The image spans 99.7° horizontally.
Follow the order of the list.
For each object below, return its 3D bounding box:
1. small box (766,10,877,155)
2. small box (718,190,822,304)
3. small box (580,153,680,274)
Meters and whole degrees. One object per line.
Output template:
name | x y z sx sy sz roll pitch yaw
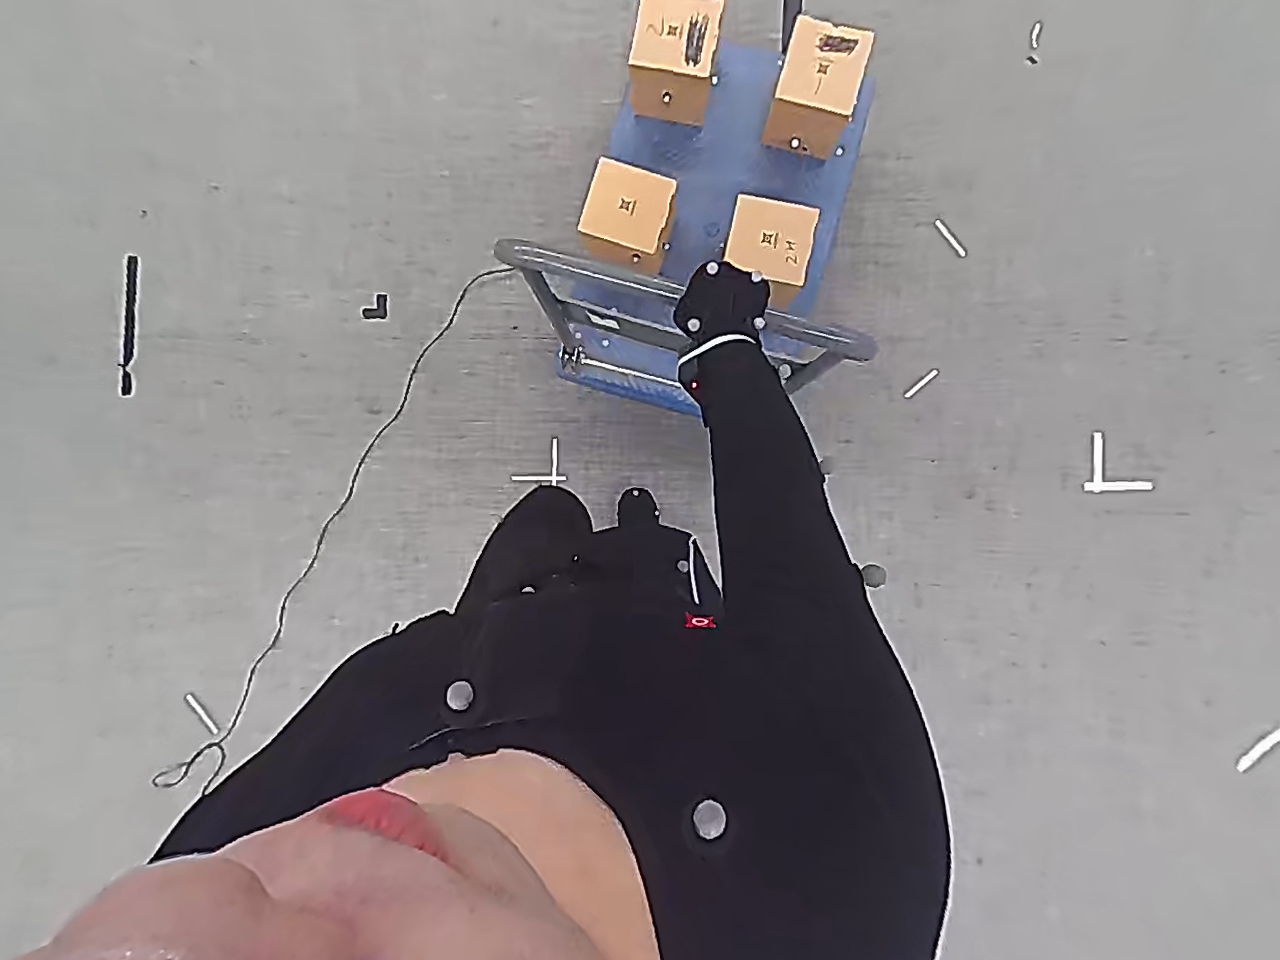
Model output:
small box | 0.390 -0.866 1.194 0.168 0.176 0.179 16 93 2
small box | 0.280 -0.510 1.208 0.179 0.176 0.168 13 92 2
small box | -0.020 -0.589 1.218 0.179 0.176 0.168 18 92 0
